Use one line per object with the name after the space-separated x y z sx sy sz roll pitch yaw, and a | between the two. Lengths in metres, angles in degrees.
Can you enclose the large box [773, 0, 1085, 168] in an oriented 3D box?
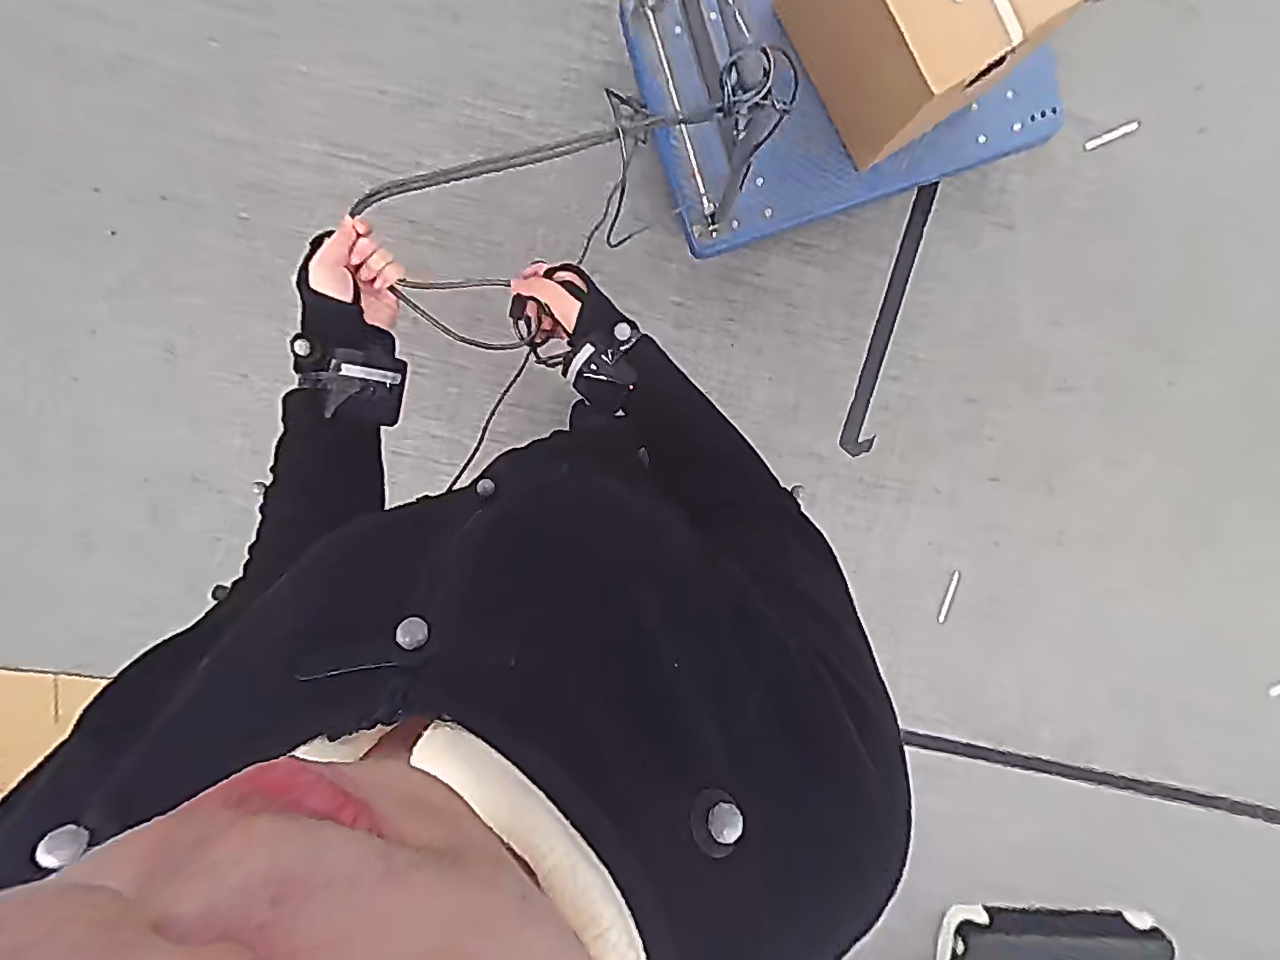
0.517 -0.916 1.030 0.320 0.320 0.408 -32 98 4 | large box
